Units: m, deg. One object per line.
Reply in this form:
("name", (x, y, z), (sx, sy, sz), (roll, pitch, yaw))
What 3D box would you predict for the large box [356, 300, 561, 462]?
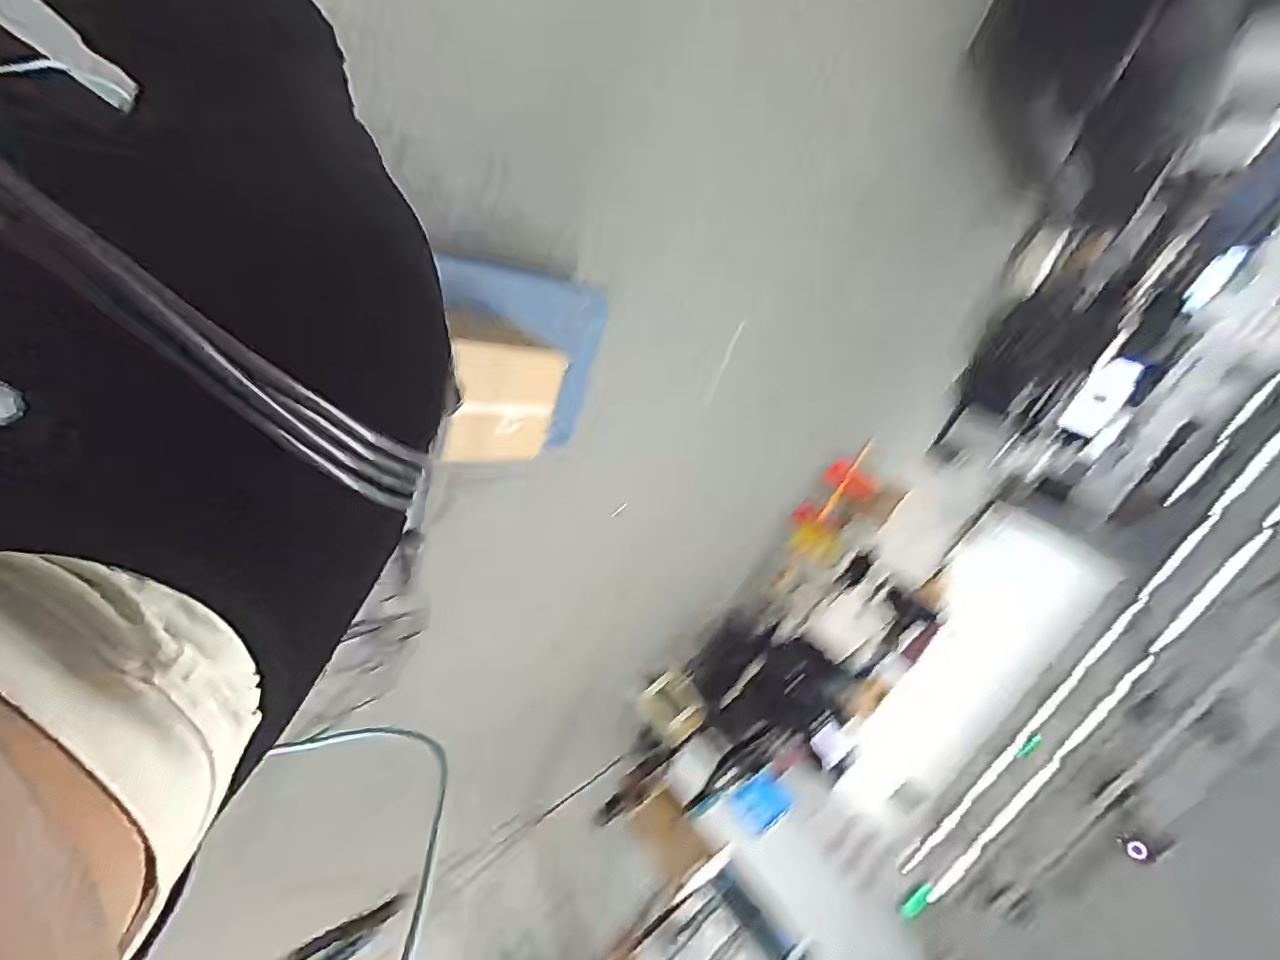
("large box", (-0.489, -0.262, 1.441), (0.408, 0.320, 0.320), (-7, 124, -46))
